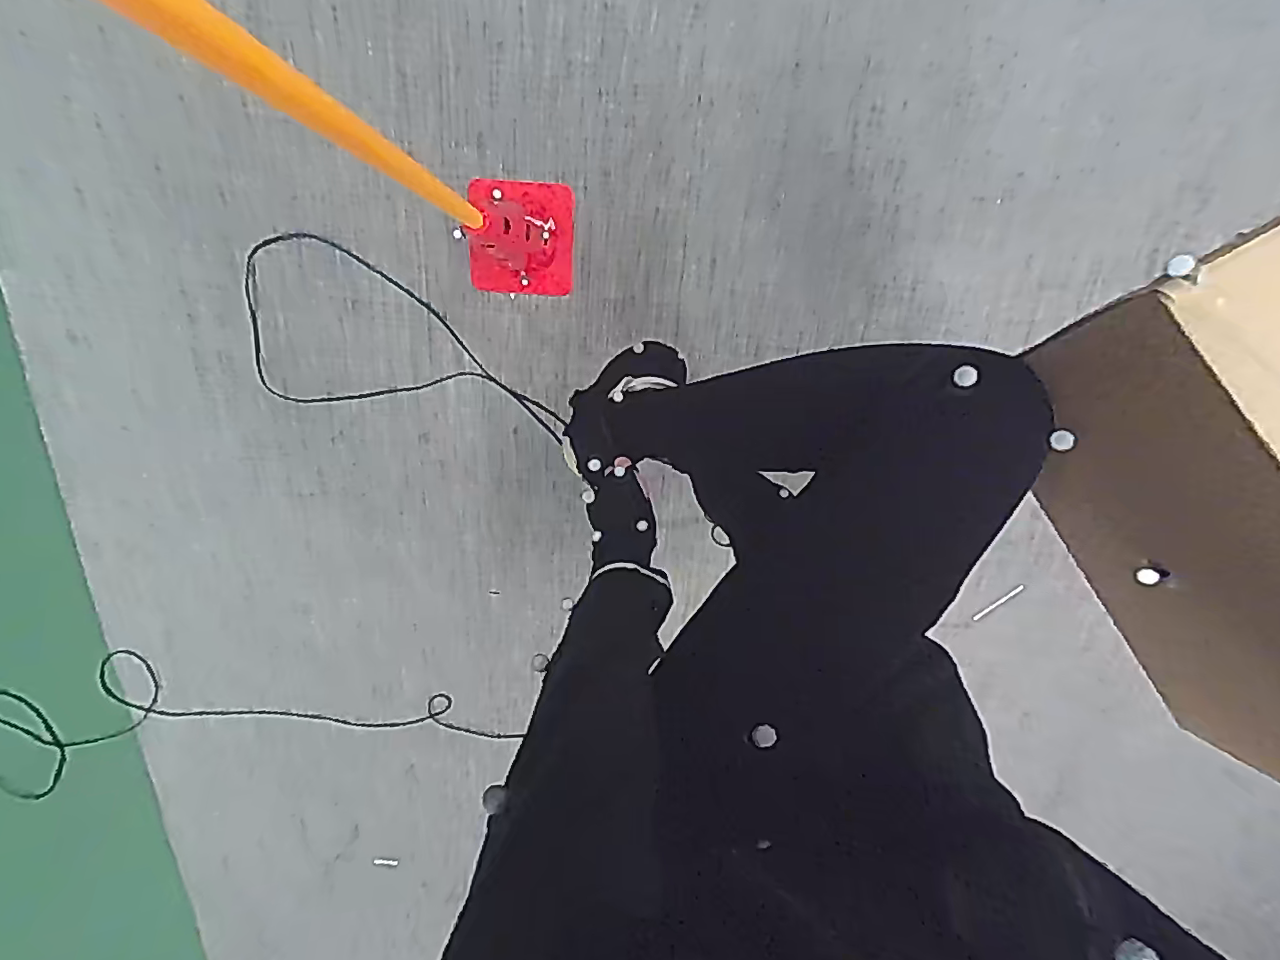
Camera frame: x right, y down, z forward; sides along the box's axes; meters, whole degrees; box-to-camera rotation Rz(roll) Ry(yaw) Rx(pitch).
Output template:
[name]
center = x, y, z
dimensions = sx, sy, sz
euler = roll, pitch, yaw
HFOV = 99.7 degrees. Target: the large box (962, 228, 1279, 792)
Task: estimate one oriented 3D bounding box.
[large box]
center = 0.542, 0.010, 0.411
dimensions = 0.320, 0.320, 0.408
euler = -29, 81, 11
